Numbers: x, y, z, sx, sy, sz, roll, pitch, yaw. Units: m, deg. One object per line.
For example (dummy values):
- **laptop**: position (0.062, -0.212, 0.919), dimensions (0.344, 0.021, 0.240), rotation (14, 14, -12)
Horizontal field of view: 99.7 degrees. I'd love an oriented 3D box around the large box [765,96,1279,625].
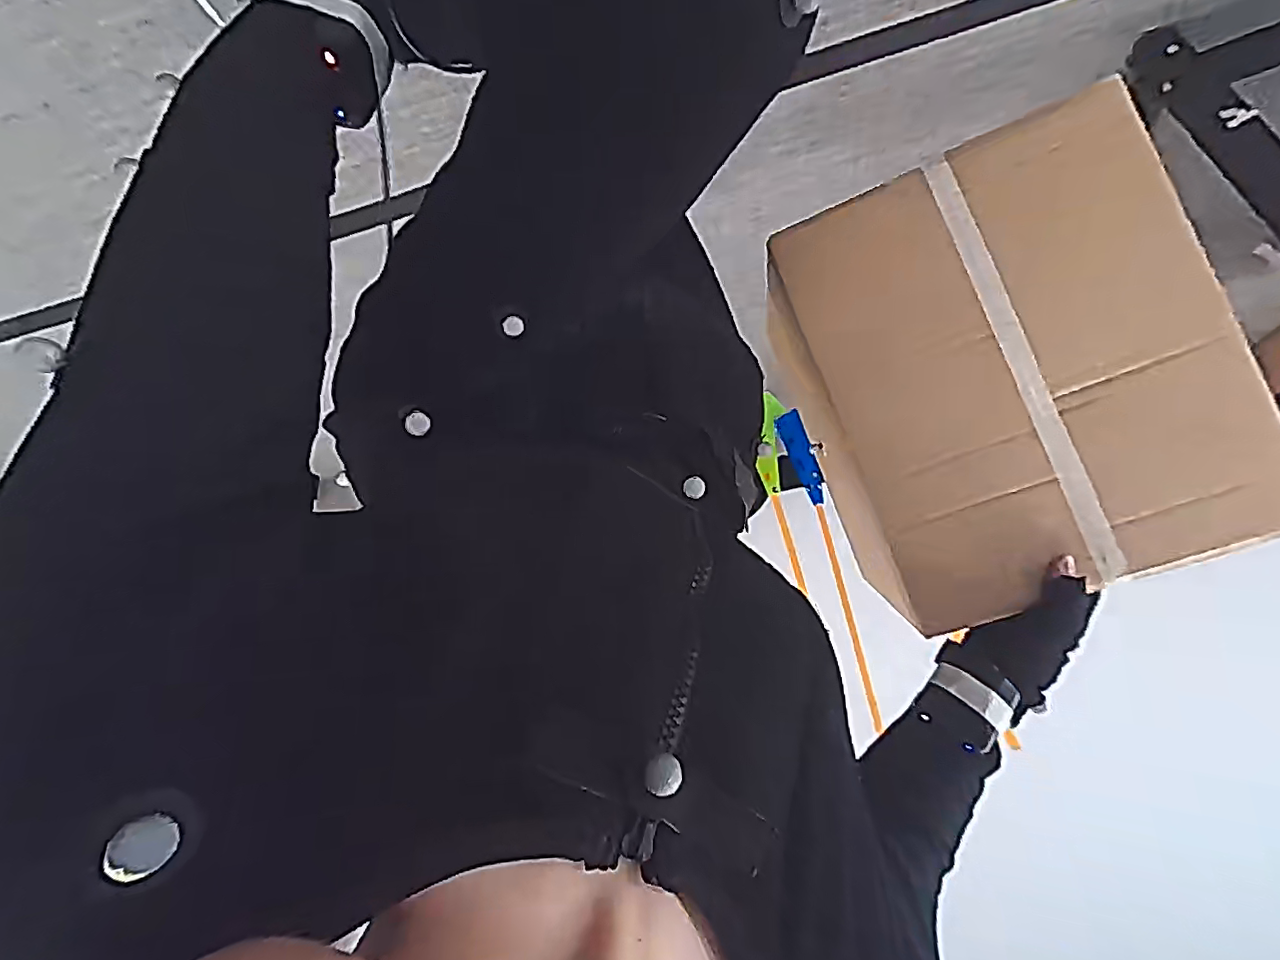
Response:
- **large box**: position (0.362, -0.102, 0.630), dimensions (0.320, 0.408, 0.320), rotation (-21, 176, 13)
